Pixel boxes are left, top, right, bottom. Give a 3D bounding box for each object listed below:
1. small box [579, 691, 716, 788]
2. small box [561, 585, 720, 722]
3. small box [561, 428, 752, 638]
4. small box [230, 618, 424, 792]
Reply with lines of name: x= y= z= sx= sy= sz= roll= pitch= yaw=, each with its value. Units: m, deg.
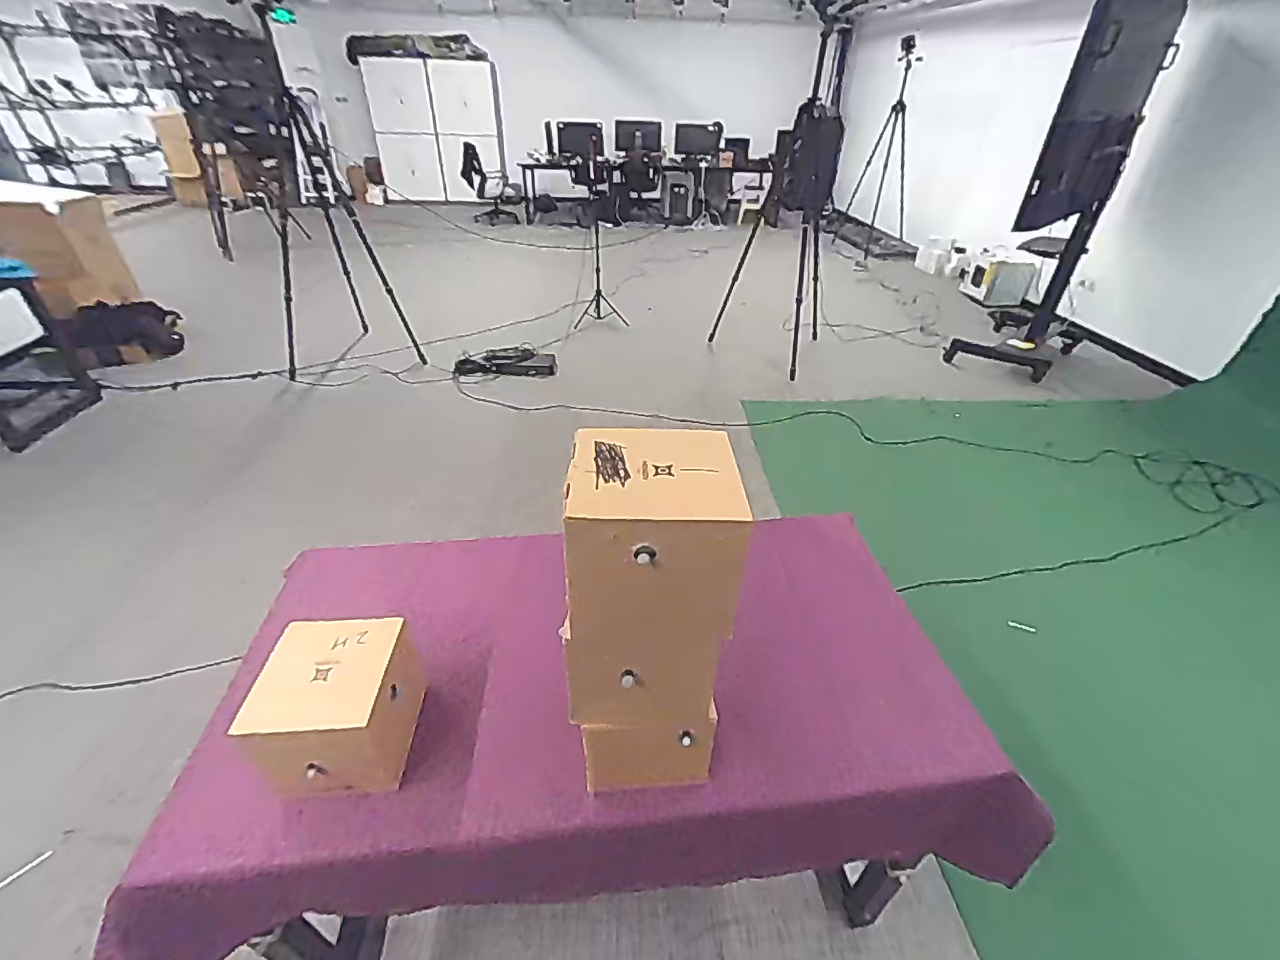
small box: x=0.004 y=0.324 z=0.786 sx=0.179 sy=0.176 sz=0.168 roll=-2 pitch=36 yaw=-5
small box: x=0.000 y=0.190 z=0.690 sx=0.179 sy=0.176 sz=0.168 roll=0 pitch=36 yaw=-2
small box: x=0.012 y=0.057 z=0.594 sx=0.179 sy=0.176 sz=0.168 roll=1 pitch=35 yaw=-2
small box: x=-0.423 y=0.323 z=0.772 sx=0.168 sy=0.176 sz=0.179 roll=-1 pitch=36 yaw=-4
